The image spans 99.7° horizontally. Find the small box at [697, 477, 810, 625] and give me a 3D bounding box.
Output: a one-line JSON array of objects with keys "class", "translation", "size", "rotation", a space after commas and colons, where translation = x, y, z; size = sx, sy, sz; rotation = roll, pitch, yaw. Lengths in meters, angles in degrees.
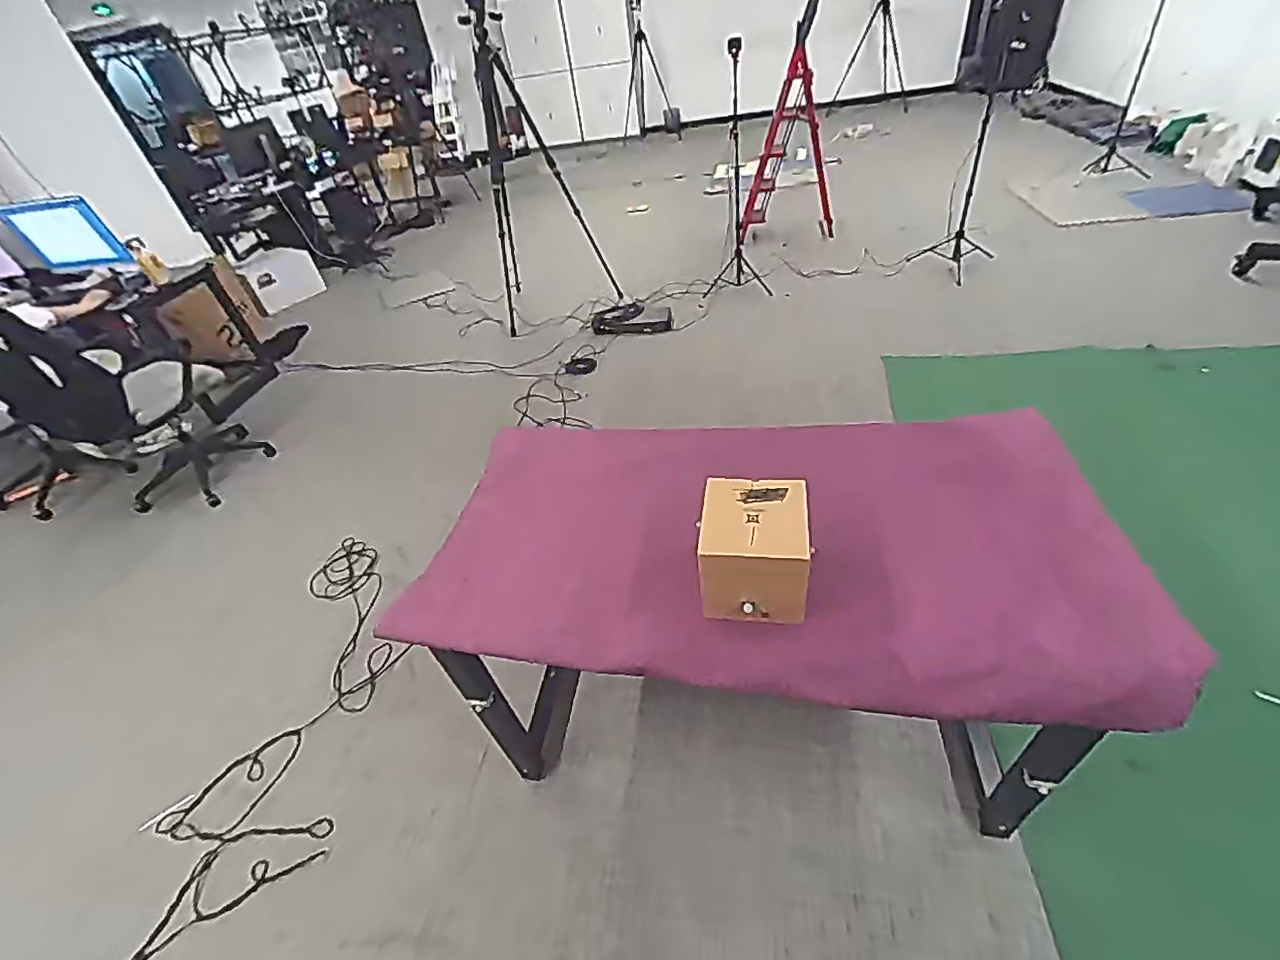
[{"class": "small box", "translation": [0.190, 0.115, 0.898], "size": [0.168, 0.176, 0.179], "rotation": [1, 42, 14]}]
